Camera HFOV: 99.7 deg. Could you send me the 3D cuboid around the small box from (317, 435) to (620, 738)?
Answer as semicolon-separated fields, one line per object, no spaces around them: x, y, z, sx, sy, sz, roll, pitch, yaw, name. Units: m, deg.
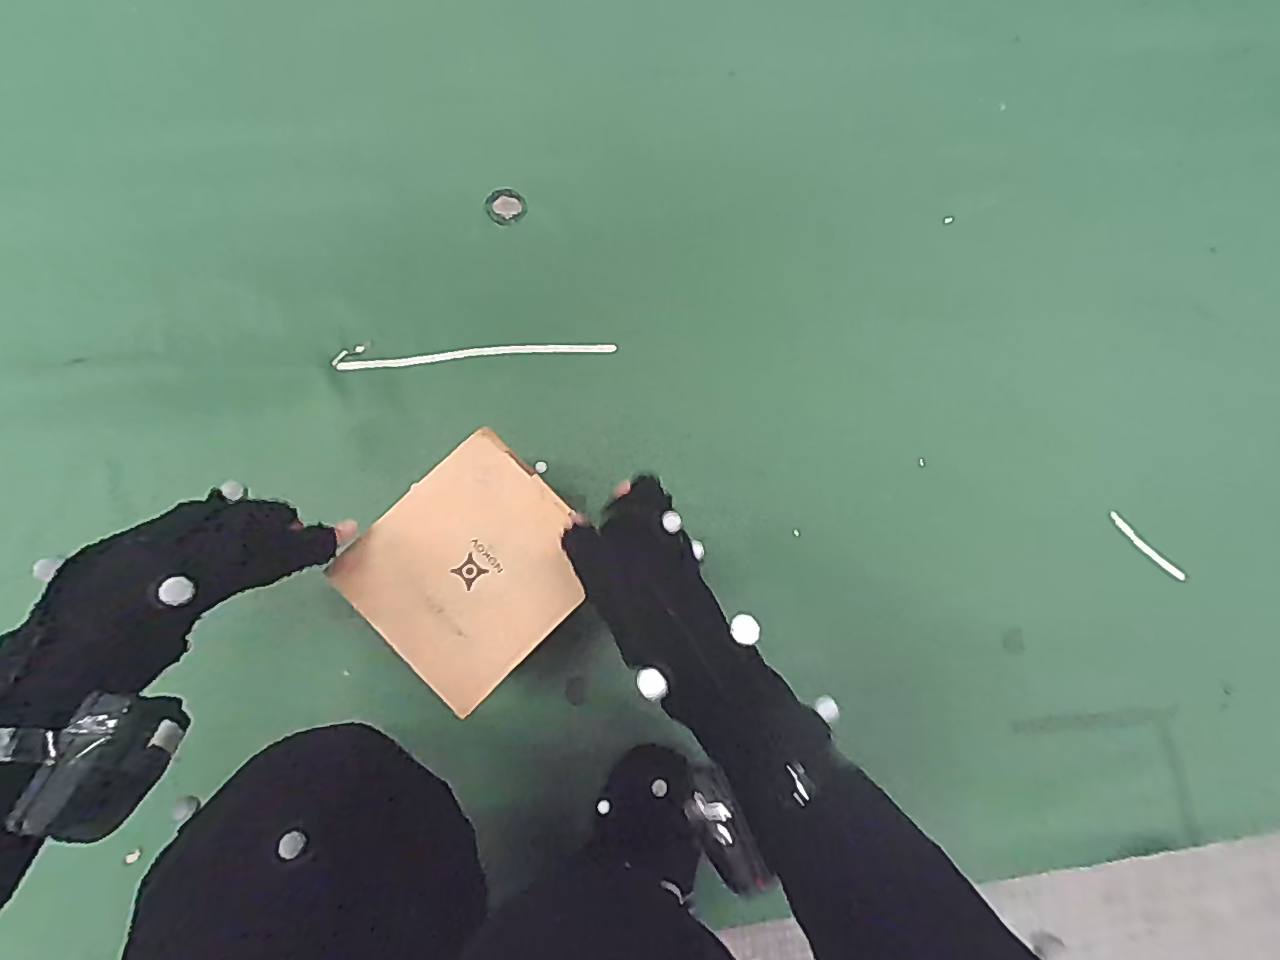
-0.136;0.088;0.497;0.179;0.176;0.168;-43;85;-6;small box
